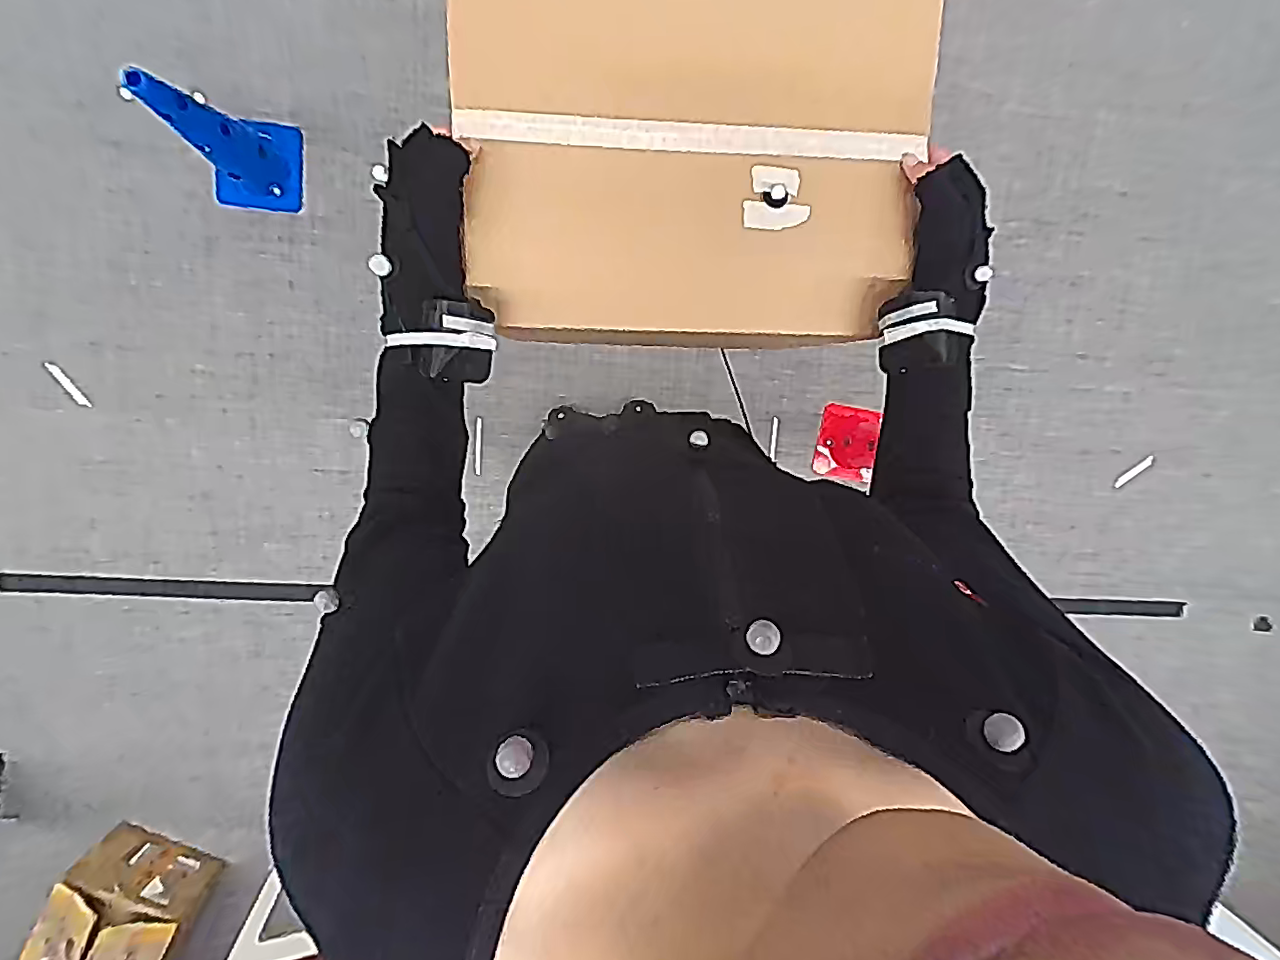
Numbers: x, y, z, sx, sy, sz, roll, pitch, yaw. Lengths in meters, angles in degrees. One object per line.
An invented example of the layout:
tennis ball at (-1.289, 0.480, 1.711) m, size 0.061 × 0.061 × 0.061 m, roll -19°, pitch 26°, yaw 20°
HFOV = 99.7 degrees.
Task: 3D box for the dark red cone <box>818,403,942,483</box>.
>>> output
dark red cone at (0.603, -0.076, 1.314) m, size 0.201 × 0.394 × 0.202 m, roll 9°, pitch 97°, yaw -4°

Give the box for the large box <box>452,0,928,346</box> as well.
large box at (0.032, -0.319, 0.609) m, size 0.408 × 0.320 × 0.320 m, roll 0°, pitch 102°, yaw -6°

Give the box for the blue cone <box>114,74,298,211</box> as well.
blue cone at (-0.923, -0.736, 1.152) m, size 0.192 × 0.380 × 0.193 m, roll 6°, pitch 97°, yaw -4°
